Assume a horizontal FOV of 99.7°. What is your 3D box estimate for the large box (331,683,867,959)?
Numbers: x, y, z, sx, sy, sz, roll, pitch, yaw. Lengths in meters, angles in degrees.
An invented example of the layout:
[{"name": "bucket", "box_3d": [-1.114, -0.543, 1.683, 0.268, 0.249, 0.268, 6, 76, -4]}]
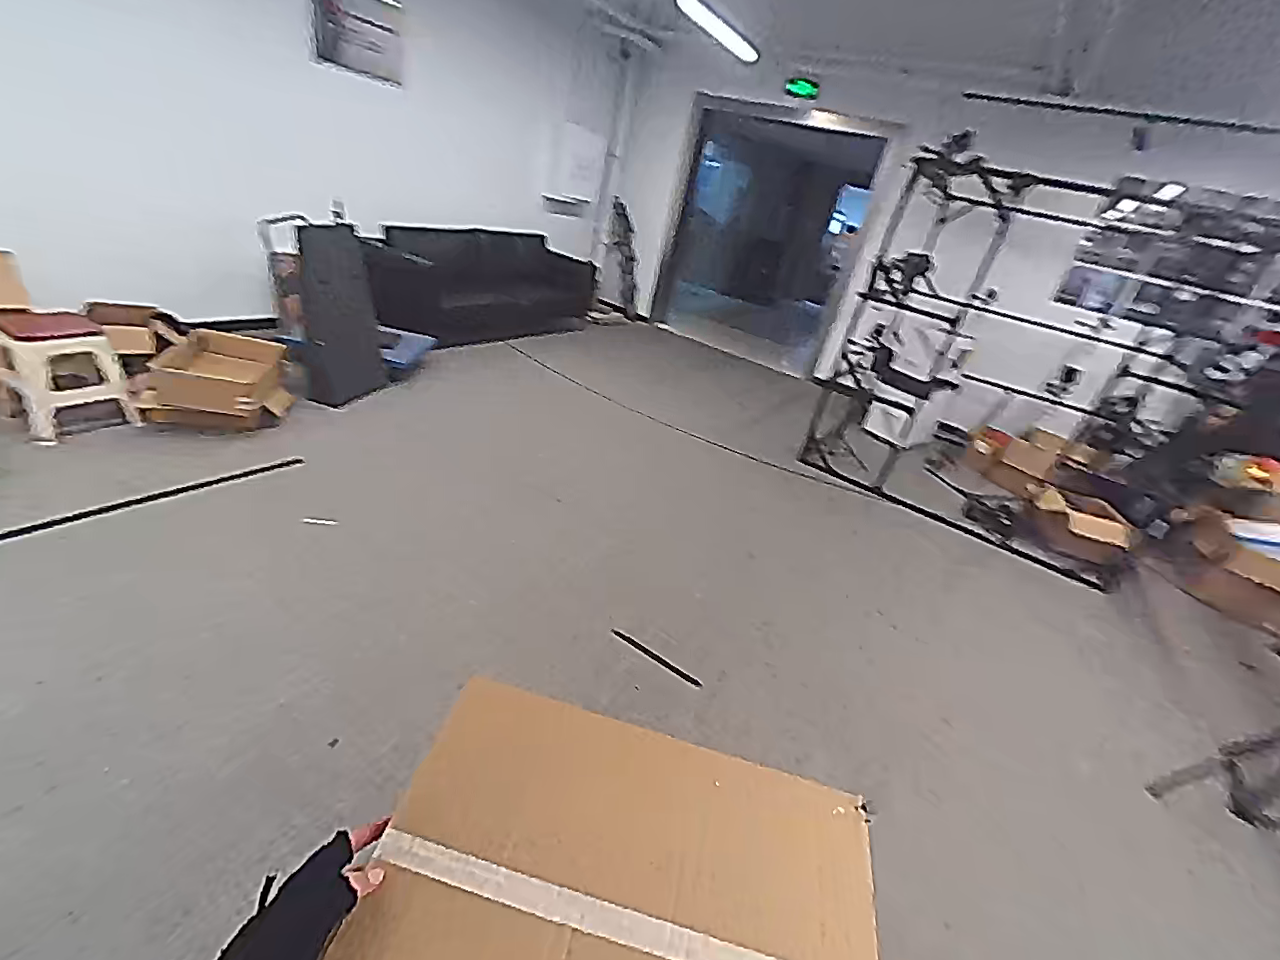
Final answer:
[{"name": "large box", "box_3d": [-0.040, 0.463, 0.523, 0.408, 0.320, 0.320, 16, 38, 4]}]
